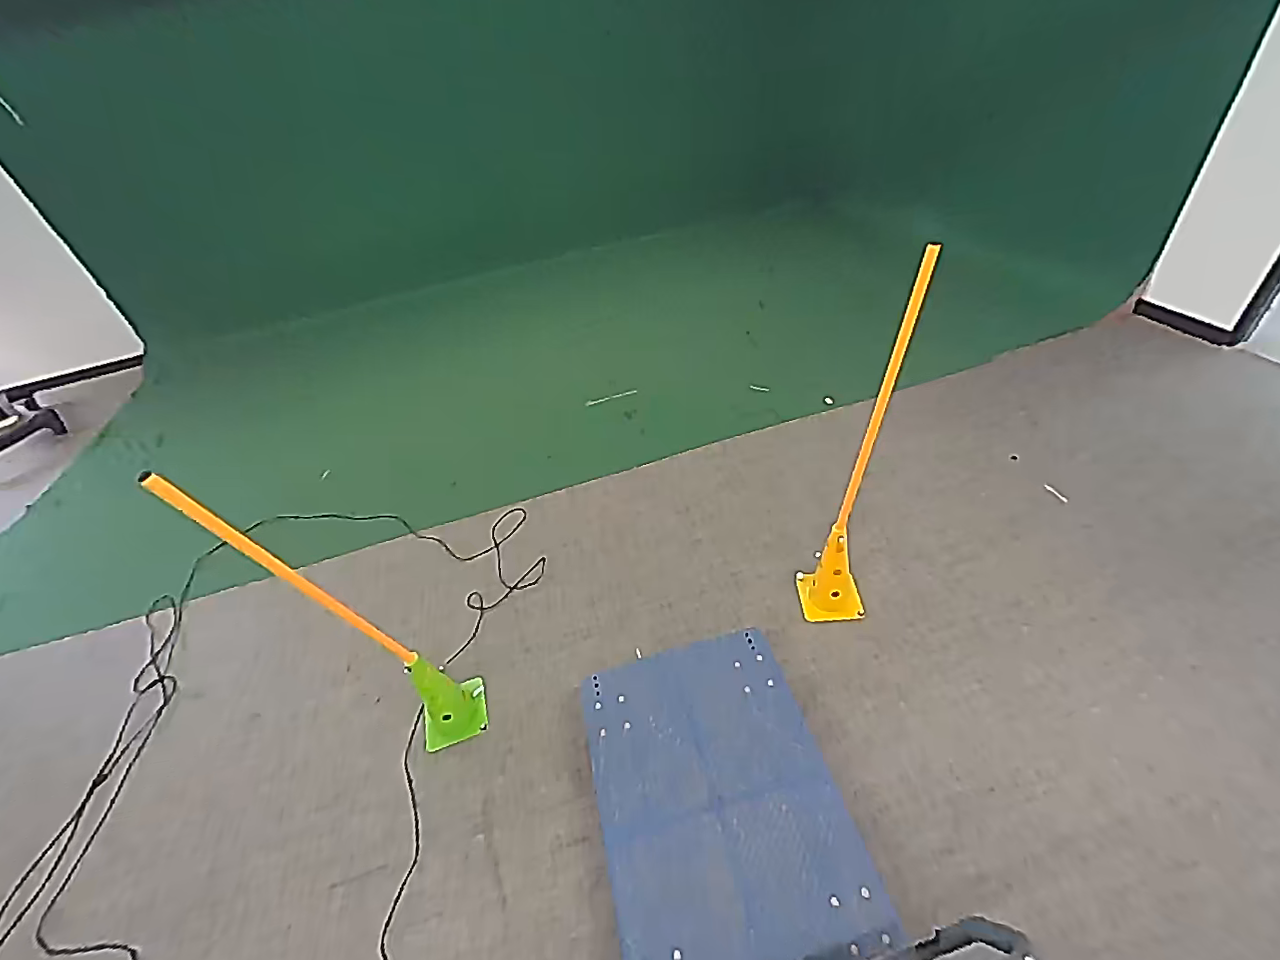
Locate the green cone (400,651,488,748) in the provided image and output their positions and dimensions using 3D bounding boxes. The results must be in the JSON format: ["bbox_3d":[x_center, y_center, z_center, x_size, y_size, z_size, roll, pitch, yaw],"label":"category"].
[{"bbox_3d":[-0.638,0.635,1.674,0.202,0.368,0.200,-21,42,-8],"label":"green cone"}]
